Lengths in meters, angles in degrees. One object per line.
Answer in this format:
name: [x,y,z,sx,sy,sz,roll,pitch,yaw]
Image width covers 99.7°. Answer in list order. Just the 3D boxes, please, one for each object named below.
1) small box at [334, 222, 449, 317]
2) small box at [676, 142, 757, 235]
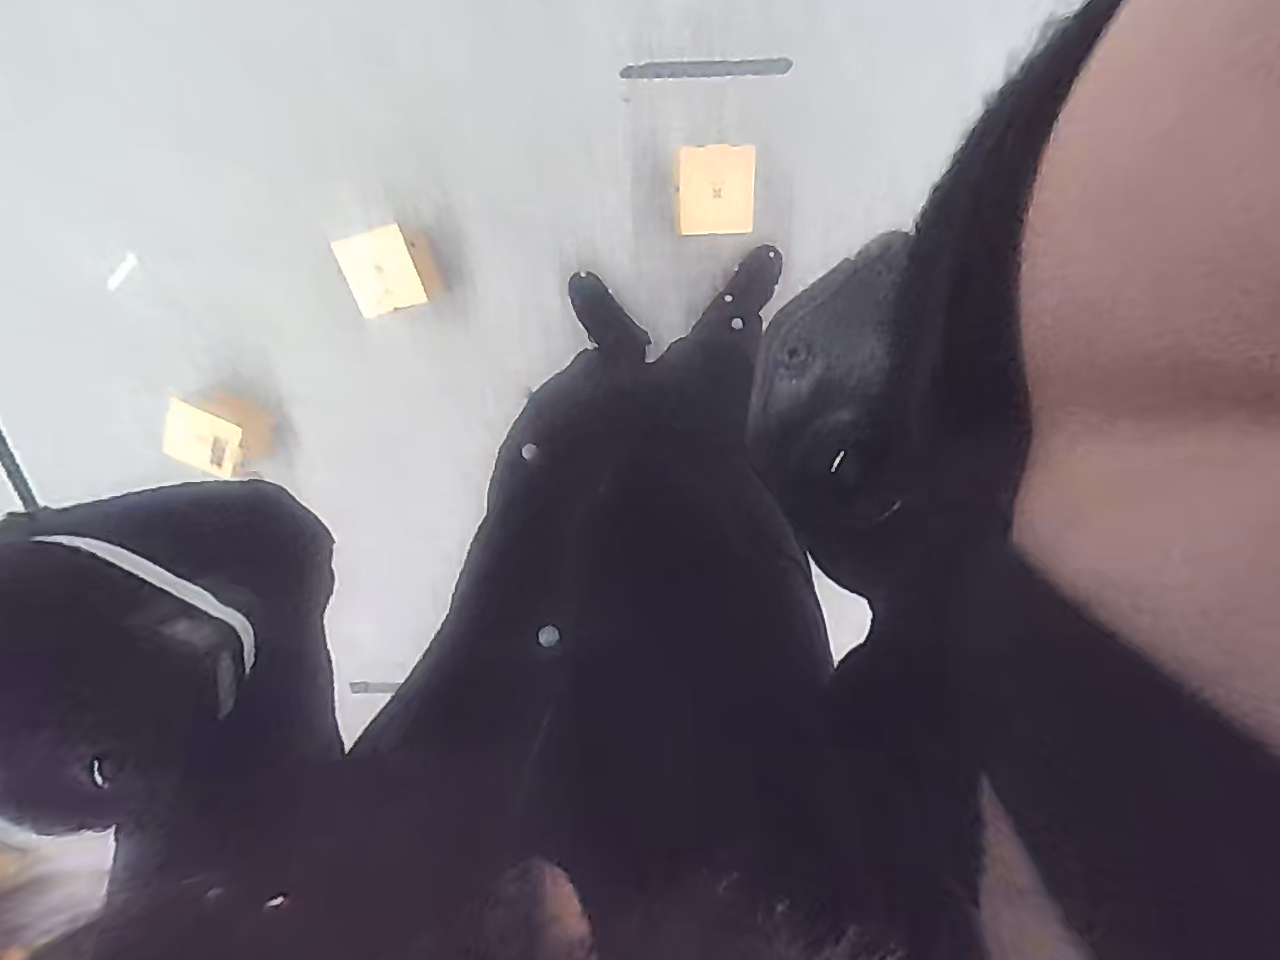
small box: [-0.596,-0.513,1.320,0.168,0.176,0.179,-14,113,5]
small box: [0.172,-0.673,1.264,0.168,0.176,0.179,-2,113,1]
